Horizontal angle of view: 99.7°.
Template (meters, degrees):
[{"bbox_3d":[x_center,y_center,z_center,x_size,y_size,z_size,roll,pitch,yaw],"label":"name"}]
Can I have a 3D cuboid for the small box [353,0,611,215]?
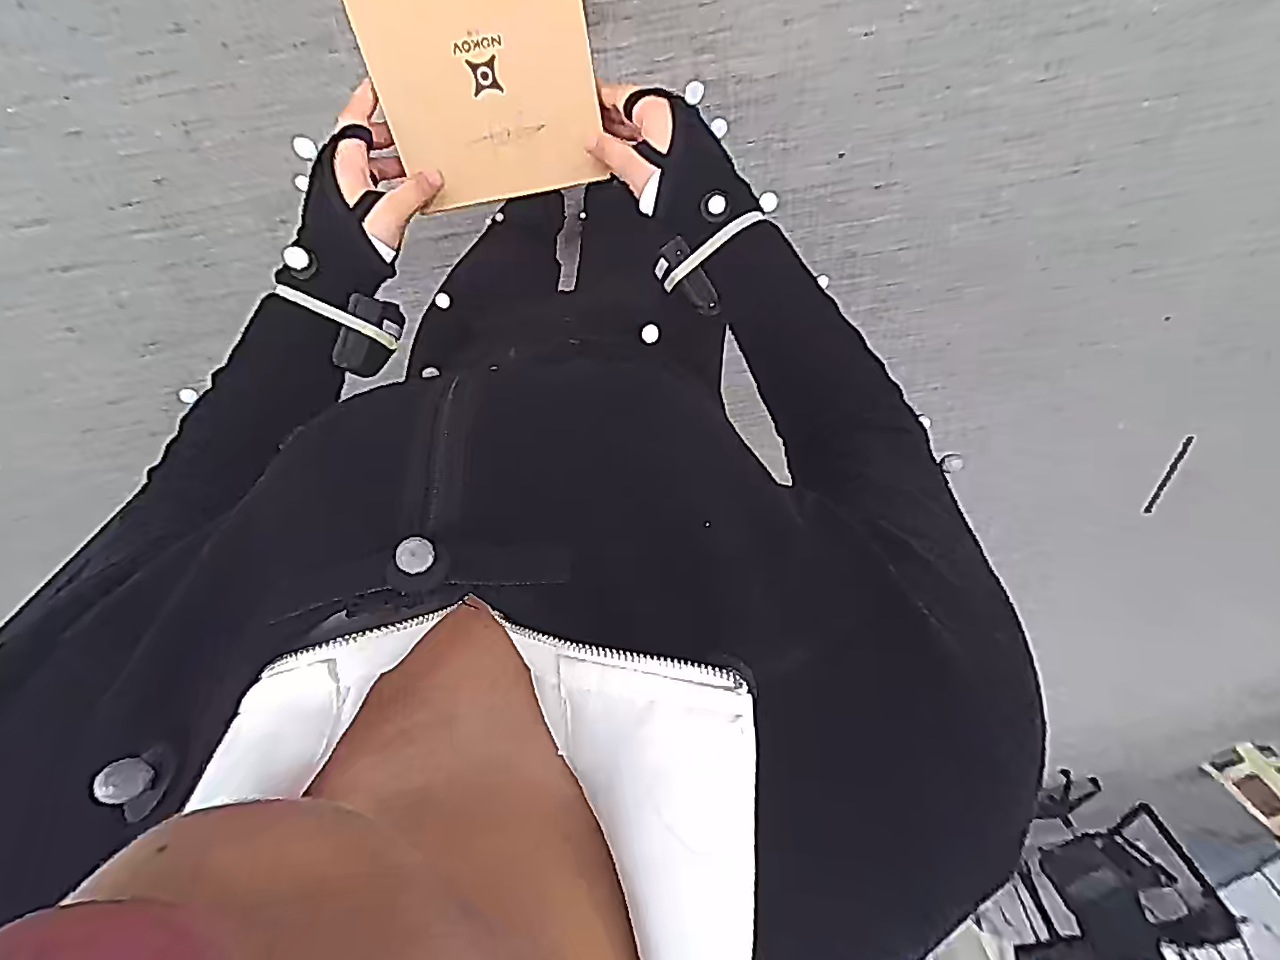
[{"bbox_3d":[-0.125,-0.357,0.480,0.168,0.176,0.179,-10,128,0],"label":"small box"}]
